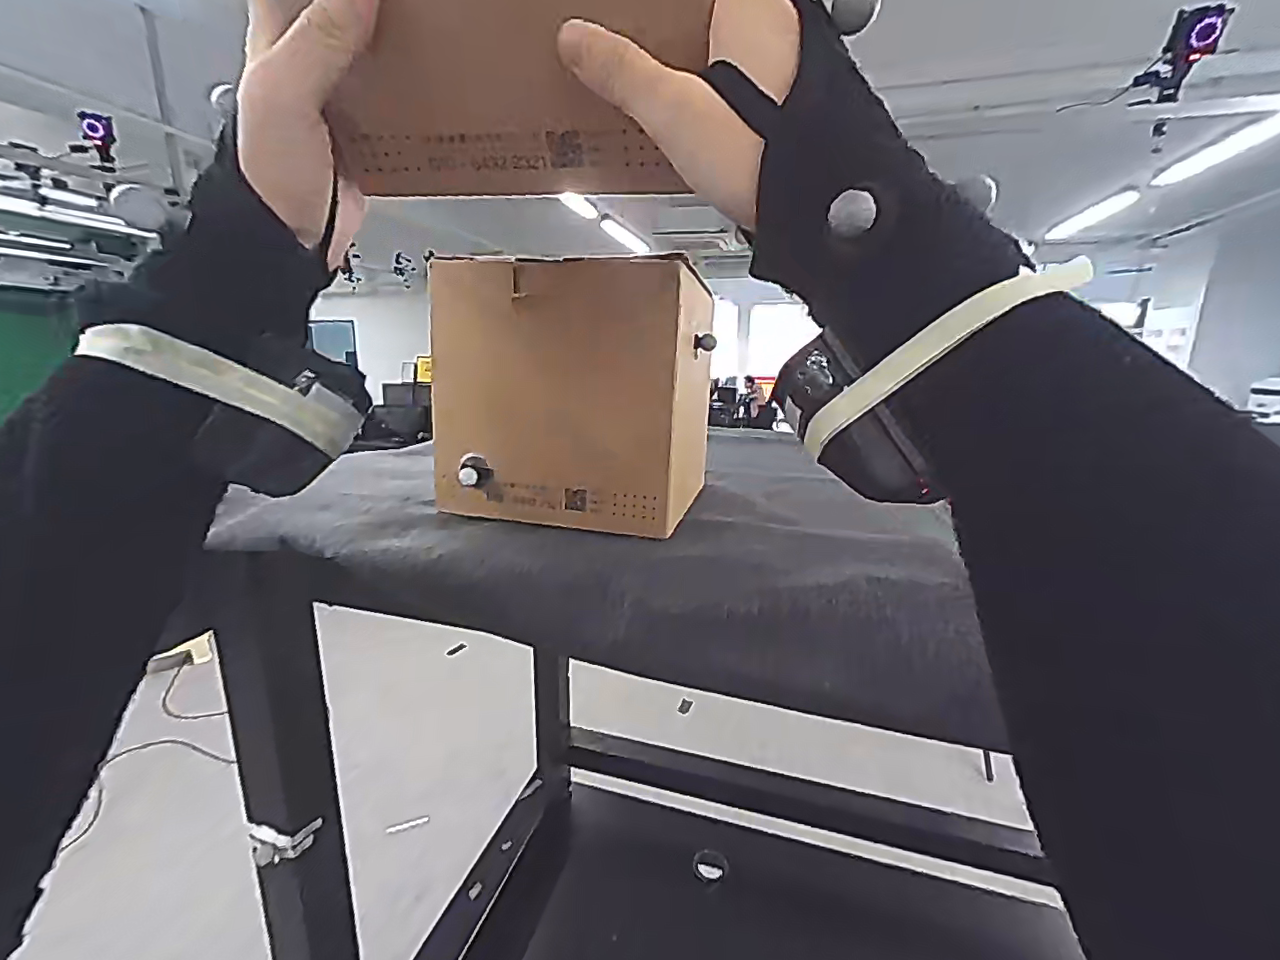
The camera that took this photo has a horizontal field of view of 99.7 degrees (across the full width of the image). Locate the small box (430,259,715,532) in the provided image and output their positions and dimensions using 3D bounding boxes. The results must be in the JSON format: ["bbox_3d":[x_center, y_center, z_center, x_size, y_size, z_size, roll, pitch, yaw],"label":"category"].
[{"bbox_3d":[-0.037,-0.064,0.419,0.168,0.176,0.179,5,11,13],"label":"small box"}]
